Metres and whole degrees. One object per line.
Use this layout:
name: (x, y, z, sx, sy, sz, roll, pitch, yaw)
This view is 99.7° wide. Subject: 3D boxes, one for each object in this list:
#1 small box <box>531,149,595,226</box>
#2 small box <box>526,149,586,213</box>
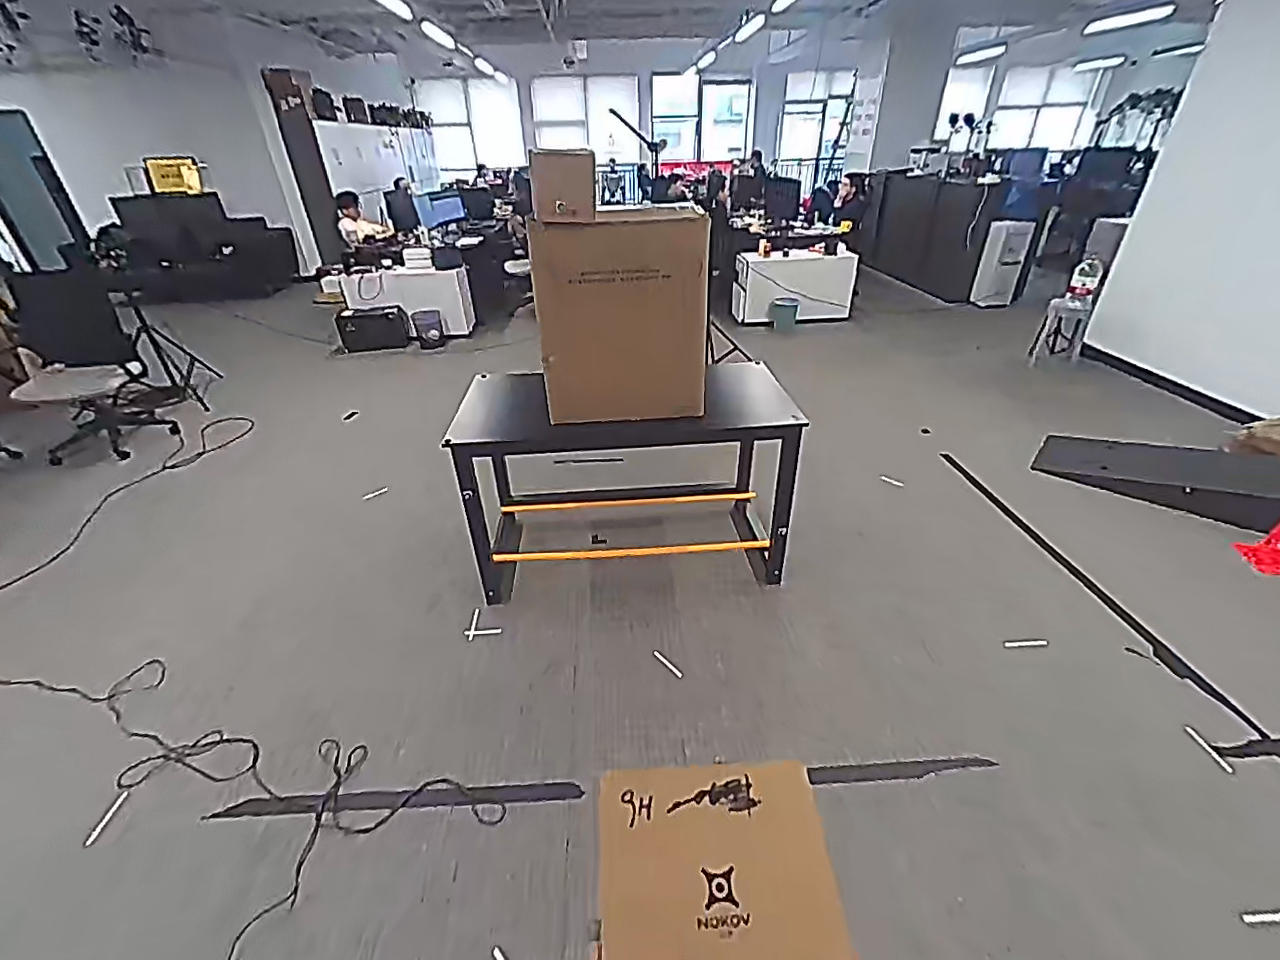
small box: (-0.213, -0.816, 1.505, 0.168, 0.176, 0.179, -4, 36, -8)
small box: (-0.248, -0.919, 1.664, 0.168, 0.176, 0.179, -2, 32, 0)
